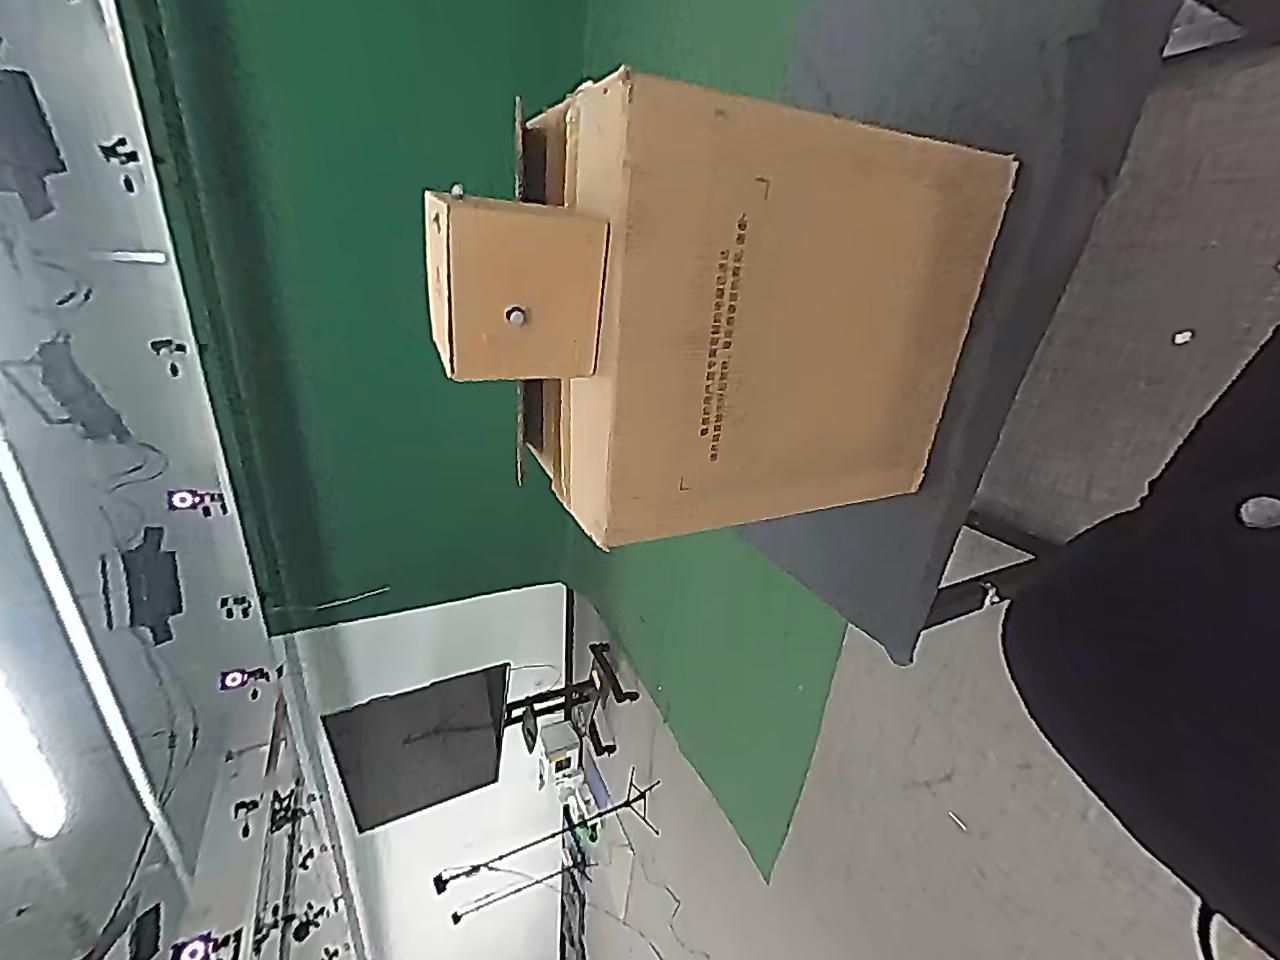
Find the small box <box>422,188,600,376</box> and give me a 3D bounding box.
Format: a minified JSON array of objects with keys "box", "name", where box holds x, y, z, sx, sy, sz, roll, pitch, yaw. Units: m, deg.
[{"box":[-0.155,-0.237,0.645,0.168,0.176,0.179,48,138,49],"name":"small box"}]
